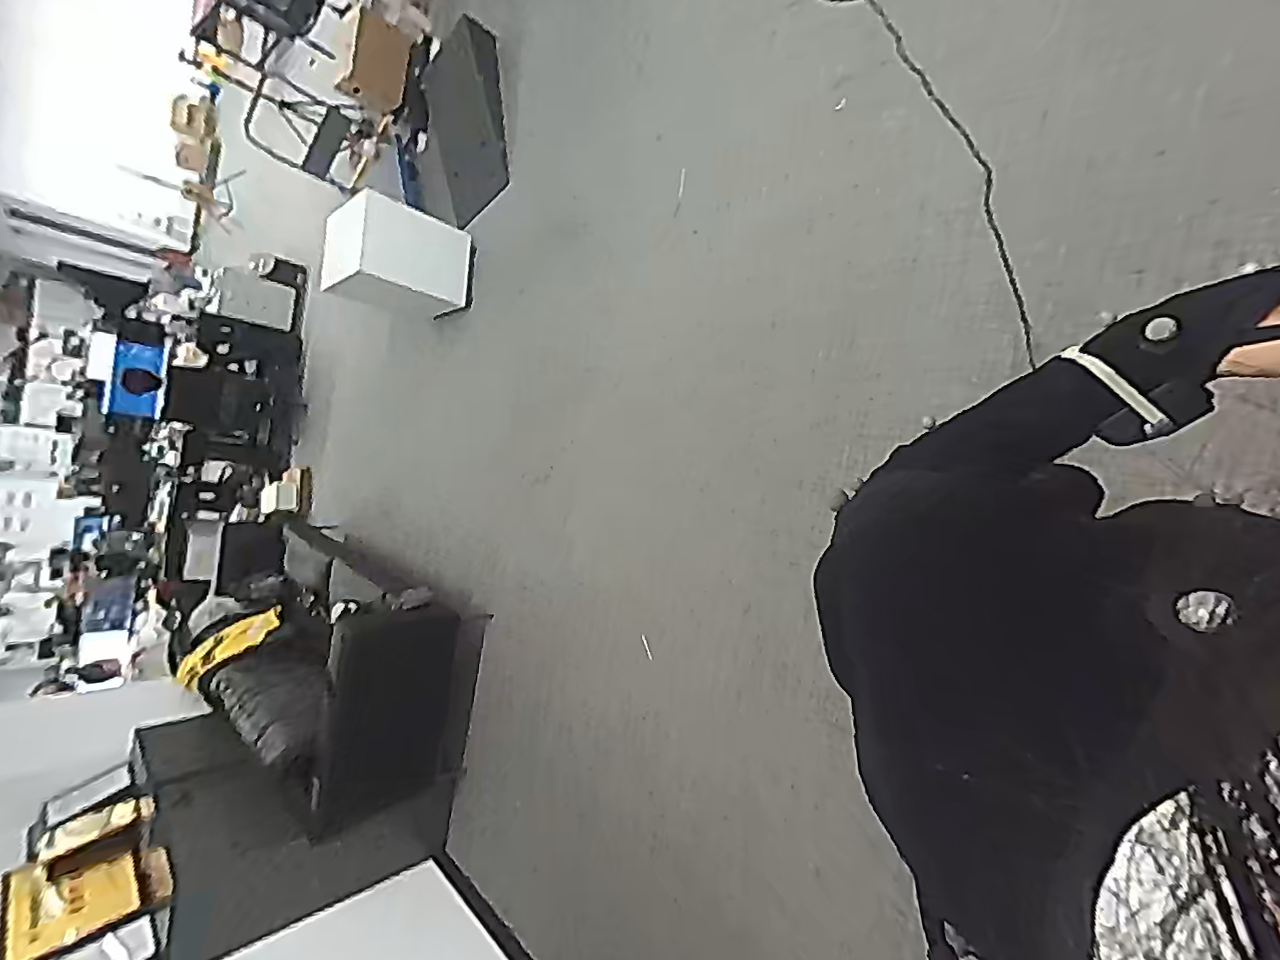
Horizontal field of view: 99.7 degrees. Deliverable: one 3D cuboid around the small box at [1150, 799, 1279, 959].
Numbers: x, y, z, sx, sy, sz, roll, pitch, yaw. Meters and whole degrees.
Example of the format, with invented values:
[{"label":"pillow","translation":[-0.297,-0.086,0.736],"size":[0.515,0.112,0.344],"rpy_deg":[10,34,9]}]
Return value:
[{"label":"small box","translation":[1.053,0.726,0.977],"size":[0.168,0.176,0.179],"rpy_deg":[14,95,41]}]
